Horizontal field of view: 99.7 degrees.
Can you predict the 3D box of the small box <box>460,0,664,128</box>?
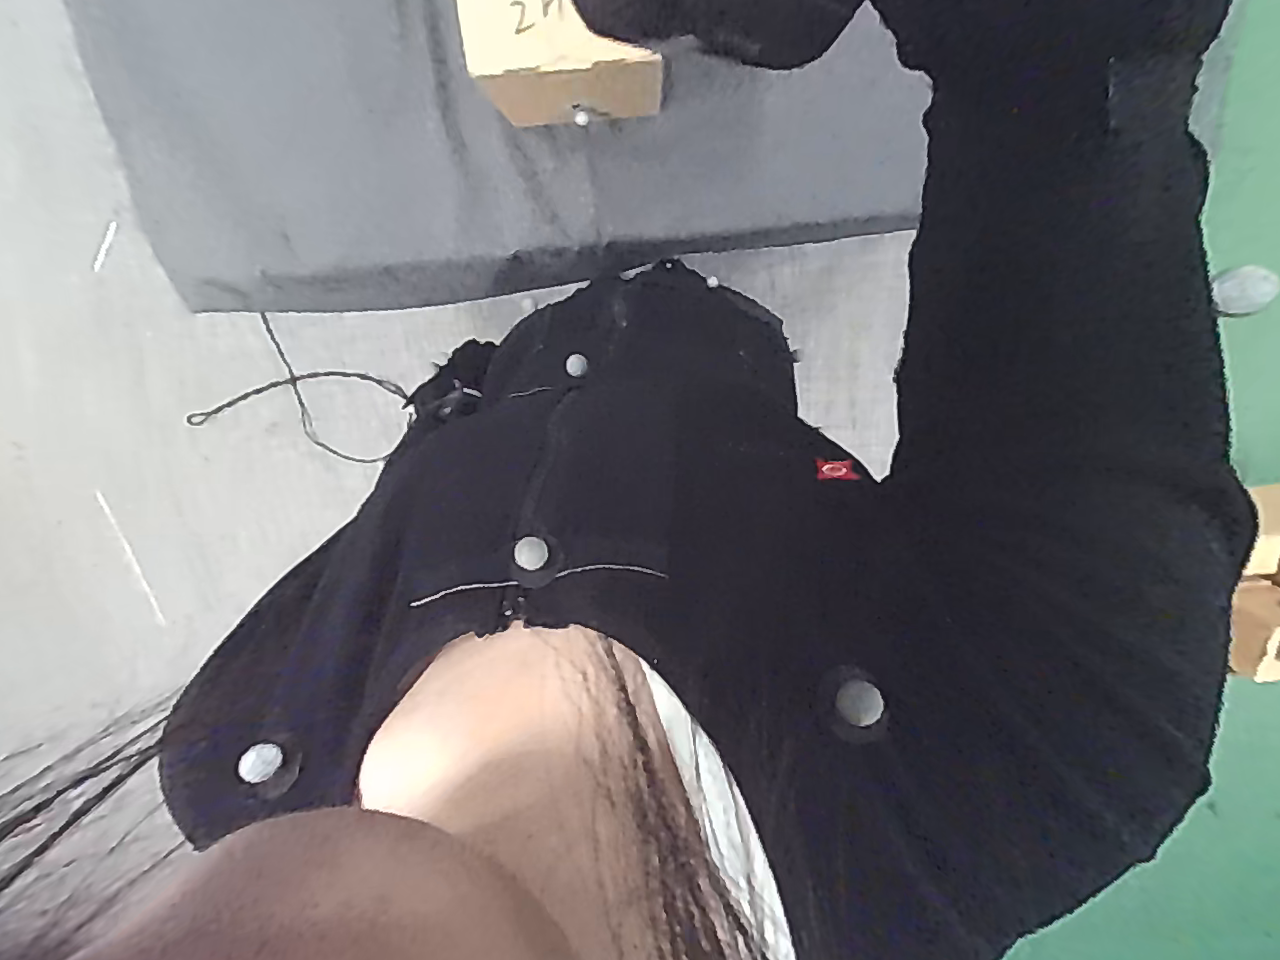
[{"bbox_3d":[-0.066,-0.453,0.500,0.168,0.176,0.179,-3,111,3],"label":"small box"}]
